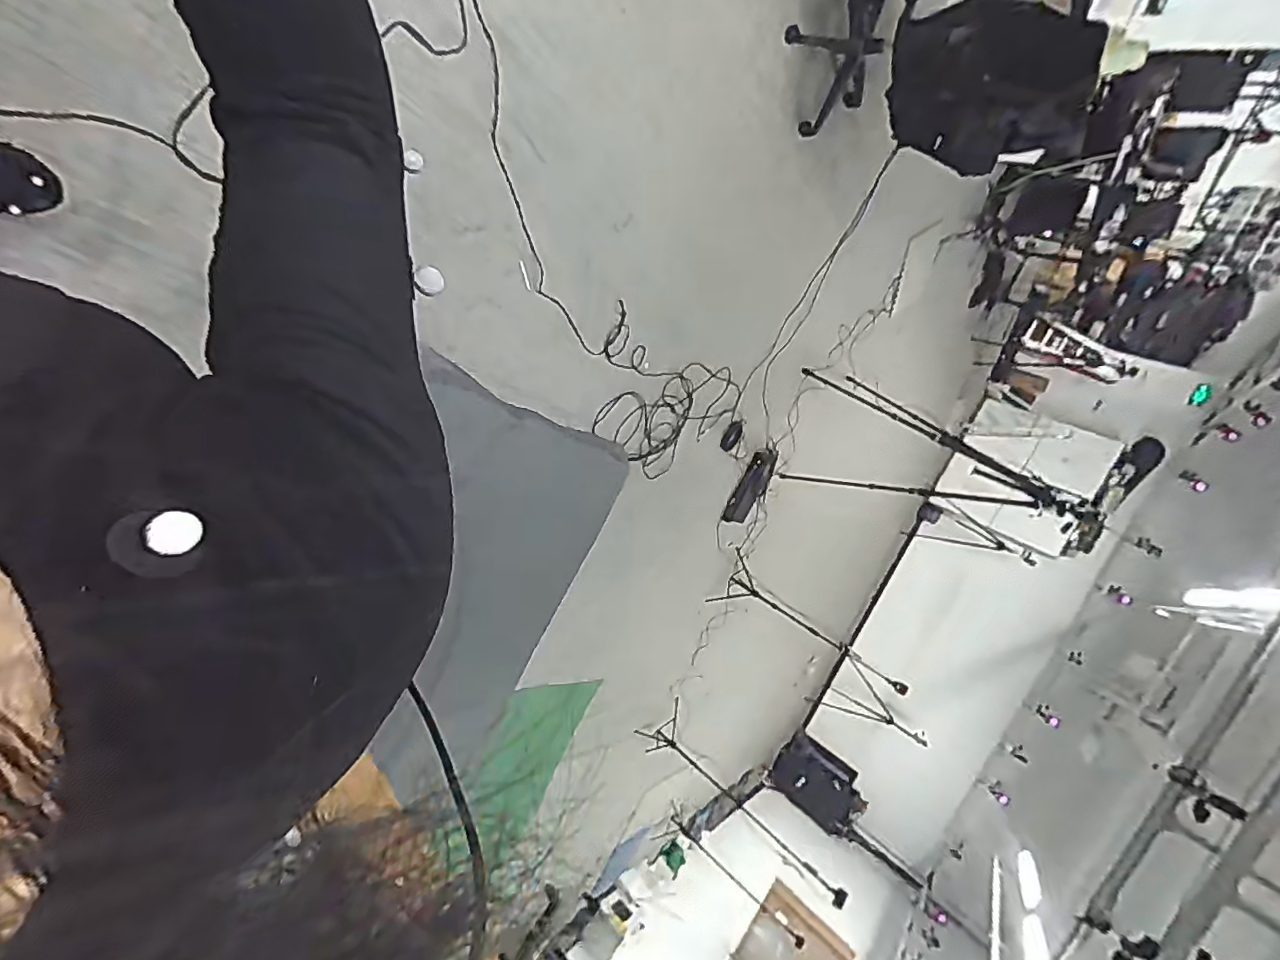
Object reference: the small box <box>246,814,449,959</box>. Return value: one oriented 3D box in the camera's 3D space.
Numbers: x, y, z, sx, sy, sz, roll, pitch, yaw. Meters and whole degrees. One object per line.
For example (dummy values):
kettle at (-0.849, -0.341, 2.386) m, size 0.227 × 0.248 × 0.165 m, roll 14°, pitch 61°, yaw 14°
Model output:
small box at (-0.430, 0.635, 0.801) m, size 0.168 × 0.176 × 0.179 m, roll -61°, pitch 146°, yaw -1°

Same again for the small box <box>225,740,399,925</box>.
small box at (-0.545, 0.569, 0.895) m, size 0.179 × 0.176 × 0.168 m, roll -61°, pitch 148°, yaw 1°

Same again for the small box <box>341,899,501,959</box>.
small box at (-0.311, 0.706, 0.714) m, size 0.179 × 0.176 × 0.168 m, roll -60°, pitch 147°, yaw -3°
